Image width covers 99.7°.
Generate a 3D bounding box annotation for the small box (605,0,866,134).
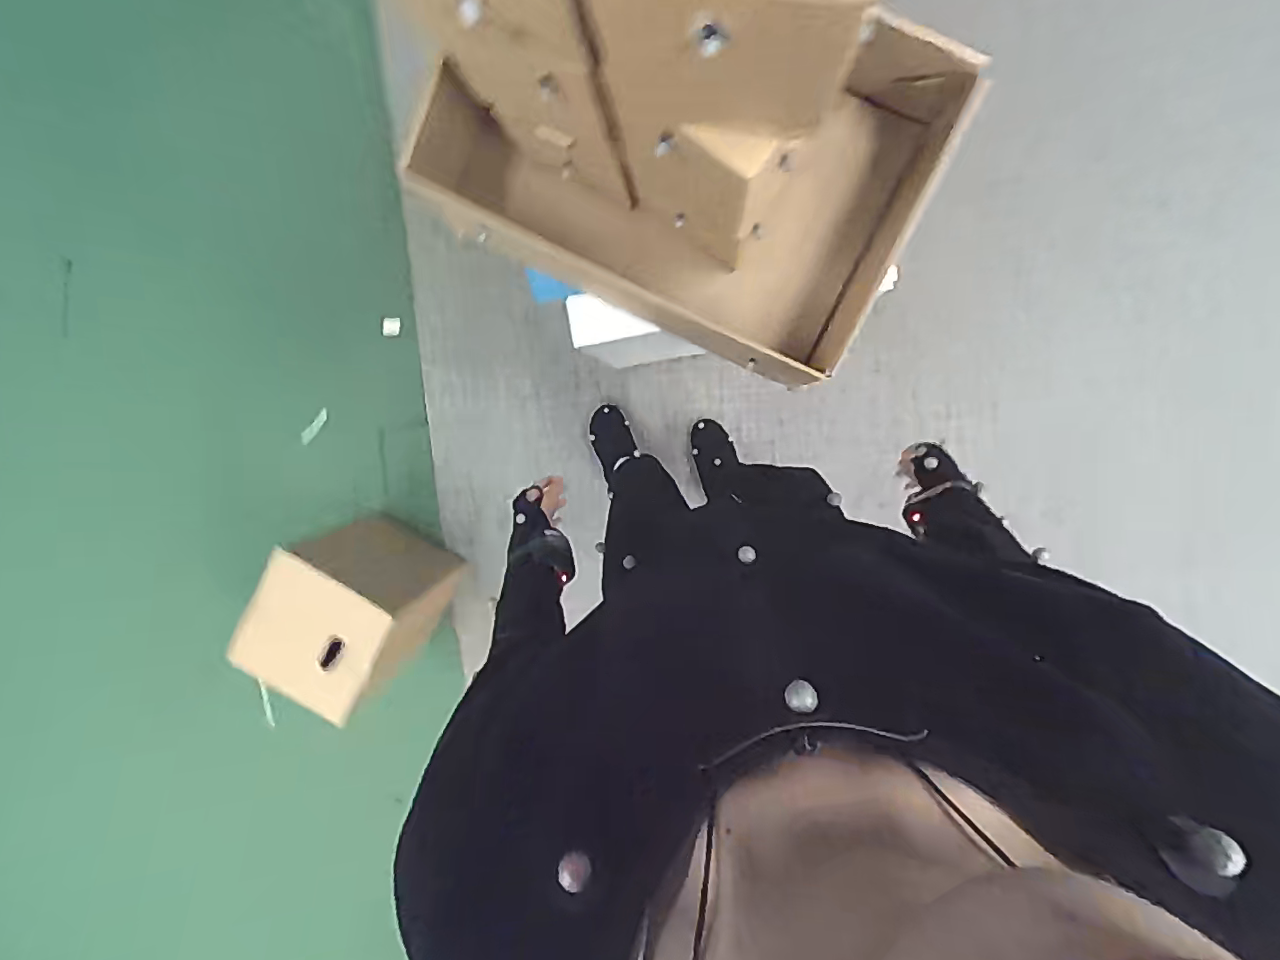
[{"bbox_3d":[0.074,-0.376,0.378,0.179,0.176,0.168,13,98,6],"label":"small box"}]
